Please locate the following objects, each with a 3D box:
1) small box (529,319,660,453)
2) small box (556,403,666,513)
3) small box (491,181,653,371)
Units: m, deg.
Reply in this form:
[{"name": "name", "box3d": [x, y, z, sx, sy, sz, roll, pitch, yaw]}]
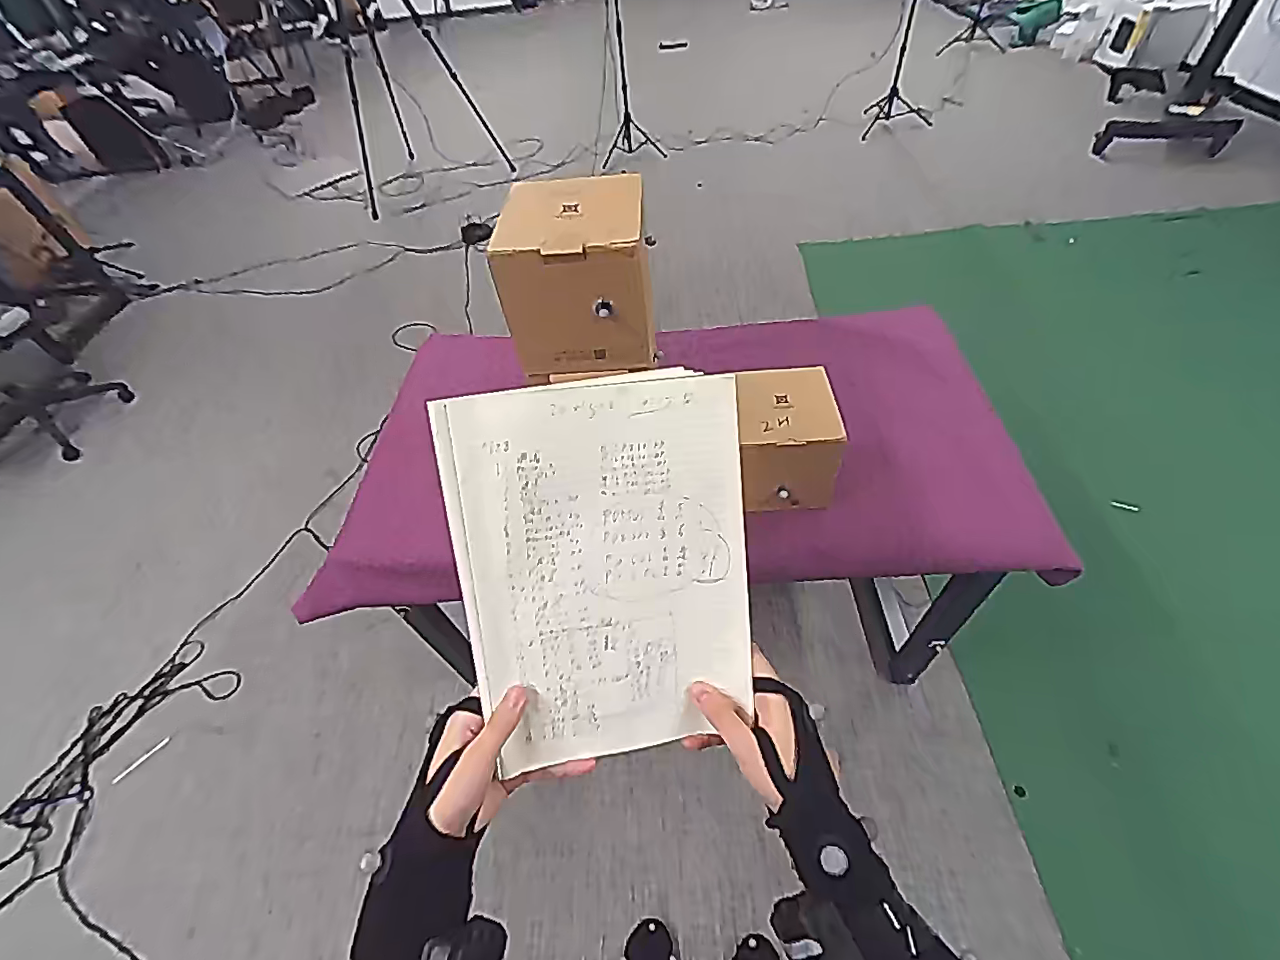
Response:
[{"name": "small box", "box3d": [-0.056, -0.152, 0.816, 0.168, 0.176, 0.179, -2, 49, 5]}, {"name": "small box", "box3d": [-0.041, -0.052, 0.947, 0.168, 0.176, 0.179, -2, 51, 4]}, {"name": "small box", "box3d": [-0.070, -0.252, 0.688, 0.168, 0.176, 0.179, -1, 50, 5]}]
